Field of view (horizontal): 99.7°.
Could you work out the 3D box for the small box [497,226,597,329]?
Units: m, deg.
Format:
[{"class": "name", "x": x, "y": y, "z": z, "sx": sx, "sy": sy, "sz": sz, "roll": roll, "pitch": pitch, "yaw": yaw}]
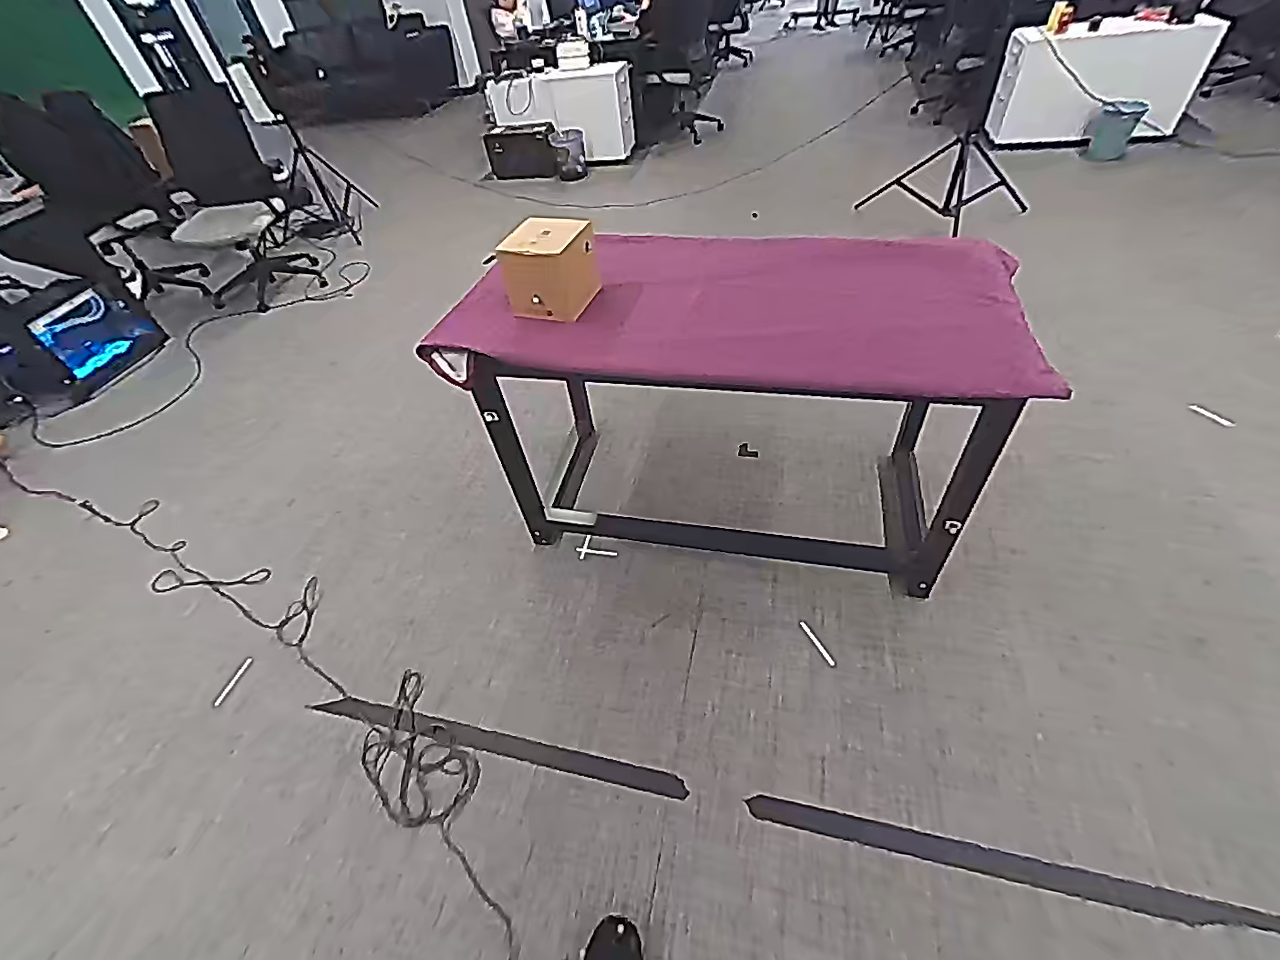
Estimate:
[{"class": "small box", "x": -0.214, "y": -0.489, "z": 1.302, "sx": 0.168, "sy": 0.176, "sz": 0.179, "roll": 11, "pitch": 49, "yaw": 18}]
